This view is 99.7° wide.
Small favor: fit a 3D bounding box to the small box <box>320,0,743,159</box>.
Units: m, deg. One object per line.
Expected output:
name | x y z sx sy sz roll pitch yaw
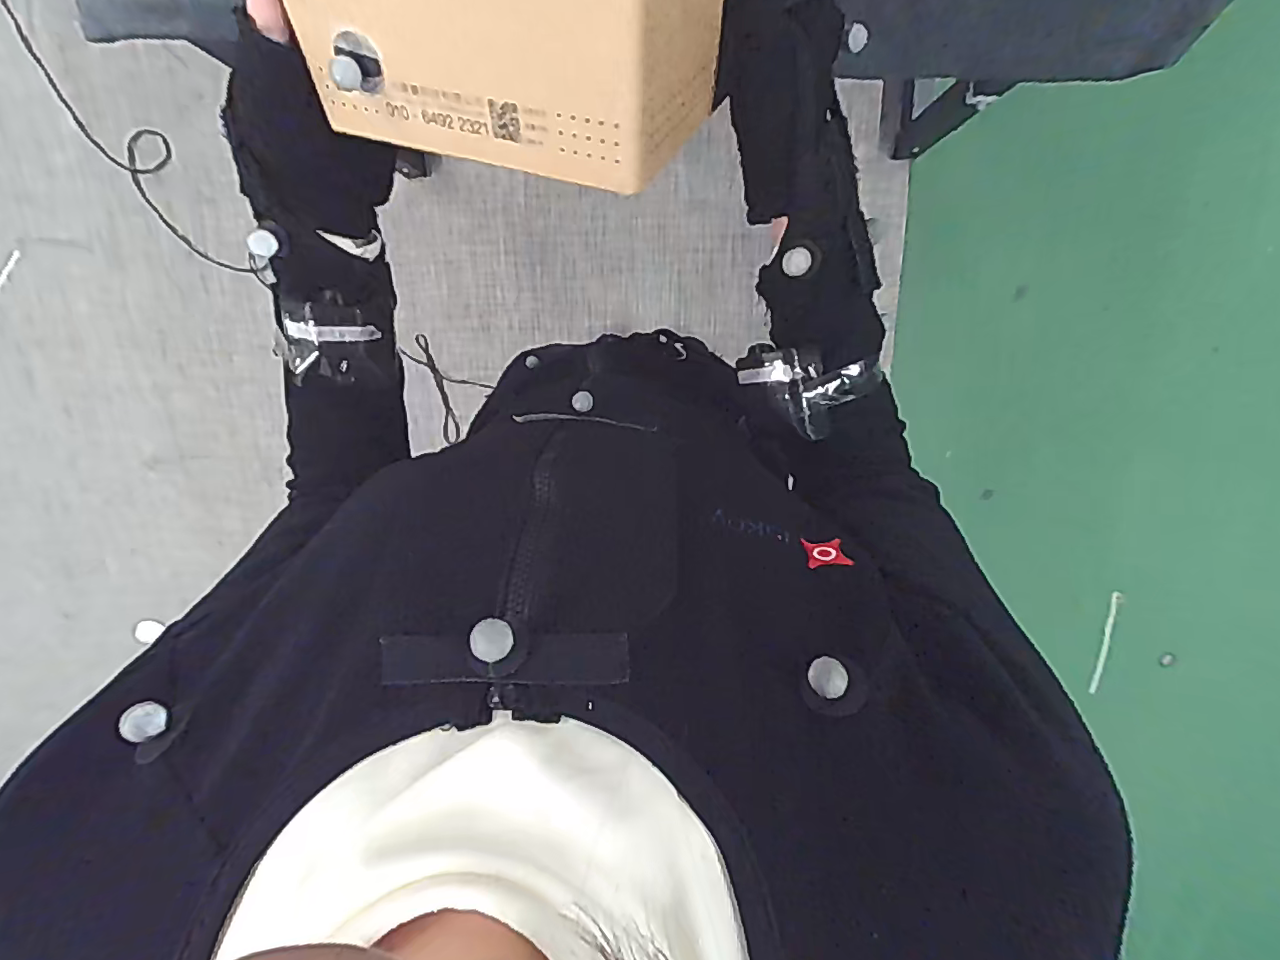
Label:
small box | -0.041 -0.270 0.239 0.168 0.179 0.176 19 143 12
